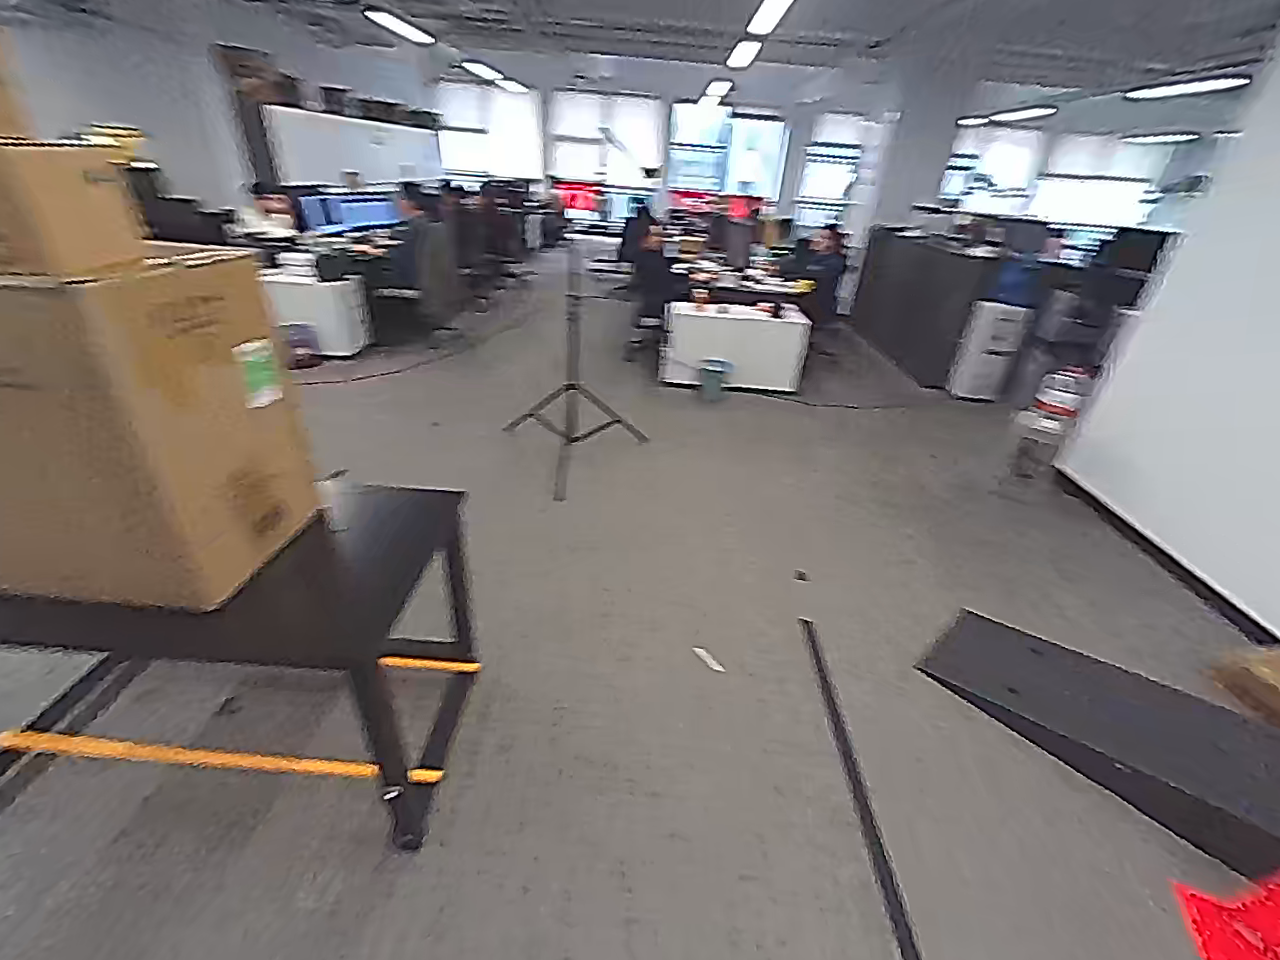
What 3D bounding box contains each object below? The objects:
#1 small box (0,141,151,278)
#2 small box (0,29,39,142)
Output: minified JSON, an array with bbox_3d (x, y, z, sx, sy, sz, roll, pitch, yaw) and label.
[{"bbox_3d":[-0.909,-0.417,0.827,0.168,0.176,0.179,2,31,-1],"label":"small box"},{"bbox_3d":[-1.161,-0.657,0.883,0.168,0.176,0.179,6,30,2],"label":"small box"}]
